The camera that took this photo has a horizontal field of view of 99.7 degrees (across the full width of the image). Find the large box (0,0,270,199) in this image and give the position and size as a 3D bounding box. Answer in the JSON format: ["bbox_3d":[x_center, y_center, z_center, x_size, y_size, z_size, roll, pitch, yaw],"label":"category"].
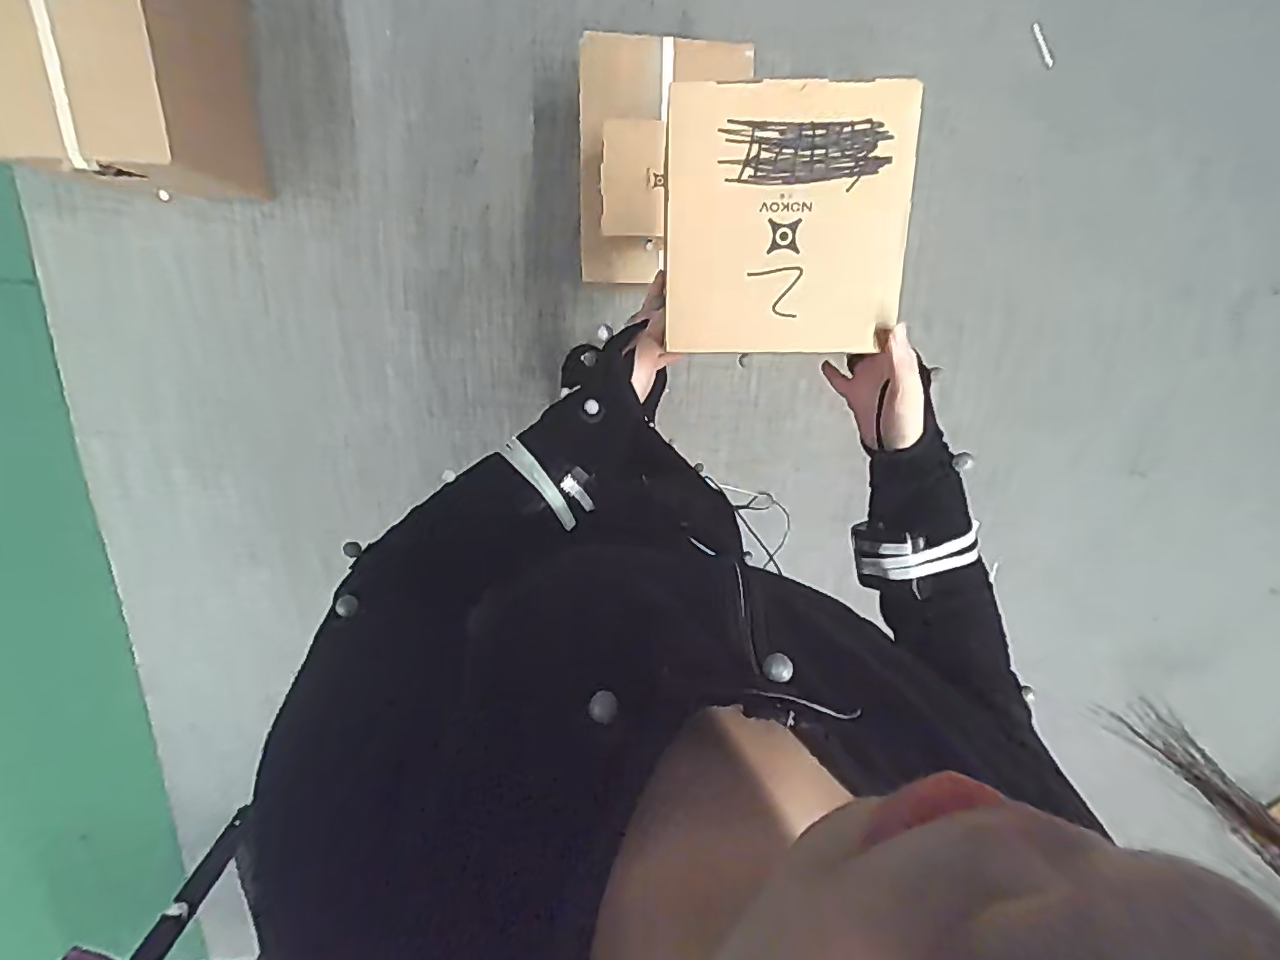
[{"bbox_3d":[-0.972,-0.783,1.019,0.320,0.320,0.408,1,106,-4],"label":"large box"}]

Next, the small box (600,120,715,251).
[{"bbox_3d":[0.023,-0.491,0.924,0.179,0.176,0.168,1,107,-2],"label":"small box"}]
